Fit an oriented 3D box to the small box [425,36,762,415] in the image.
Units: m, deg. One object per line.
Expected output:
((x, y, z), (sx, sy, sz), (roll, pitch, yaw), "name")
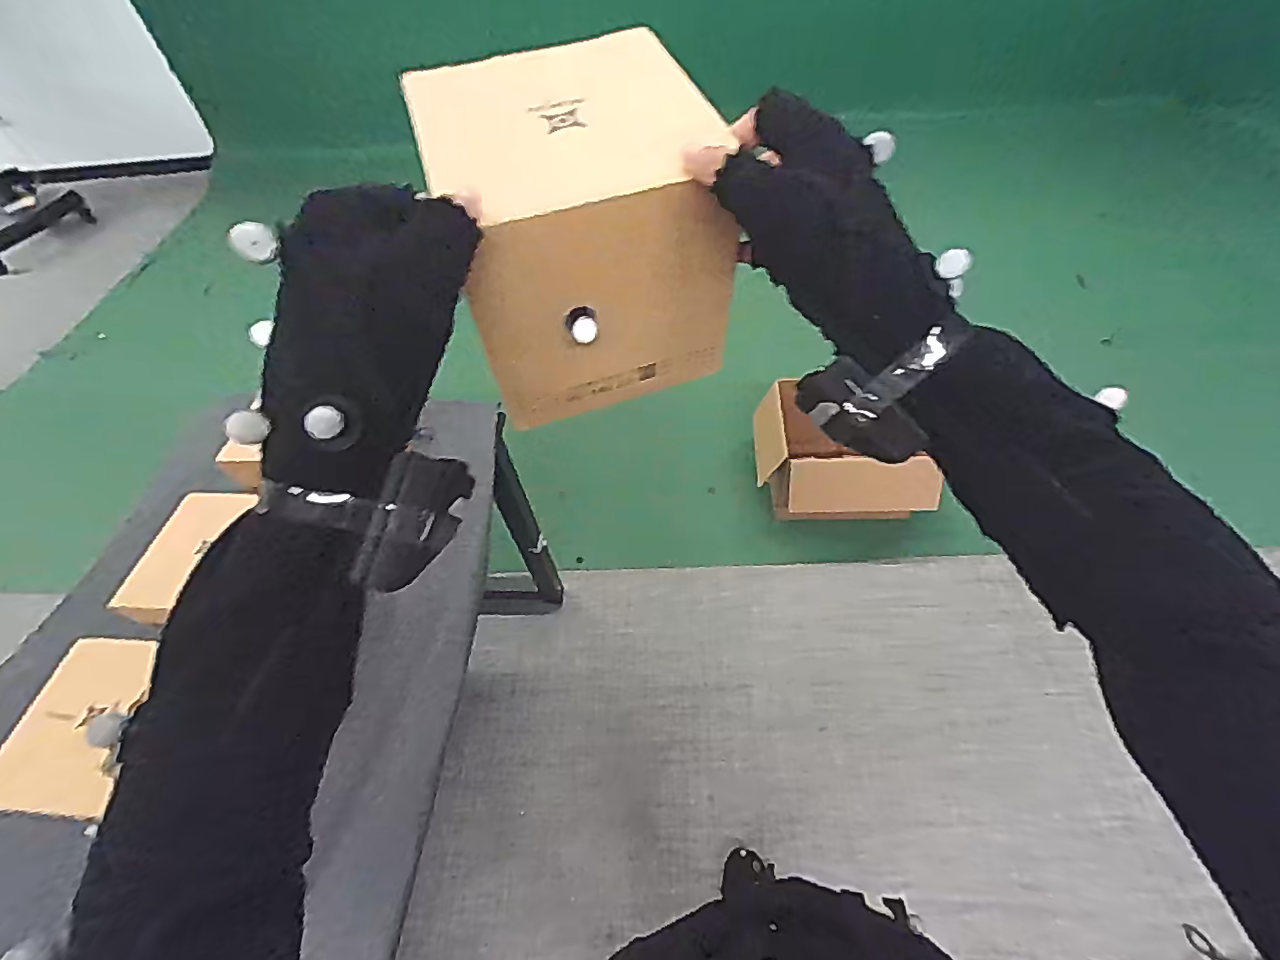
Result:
((-0.032, -0.166, 0.384), (0.168, 0.176, 0.179), (-17, 60, -8), "small box")
